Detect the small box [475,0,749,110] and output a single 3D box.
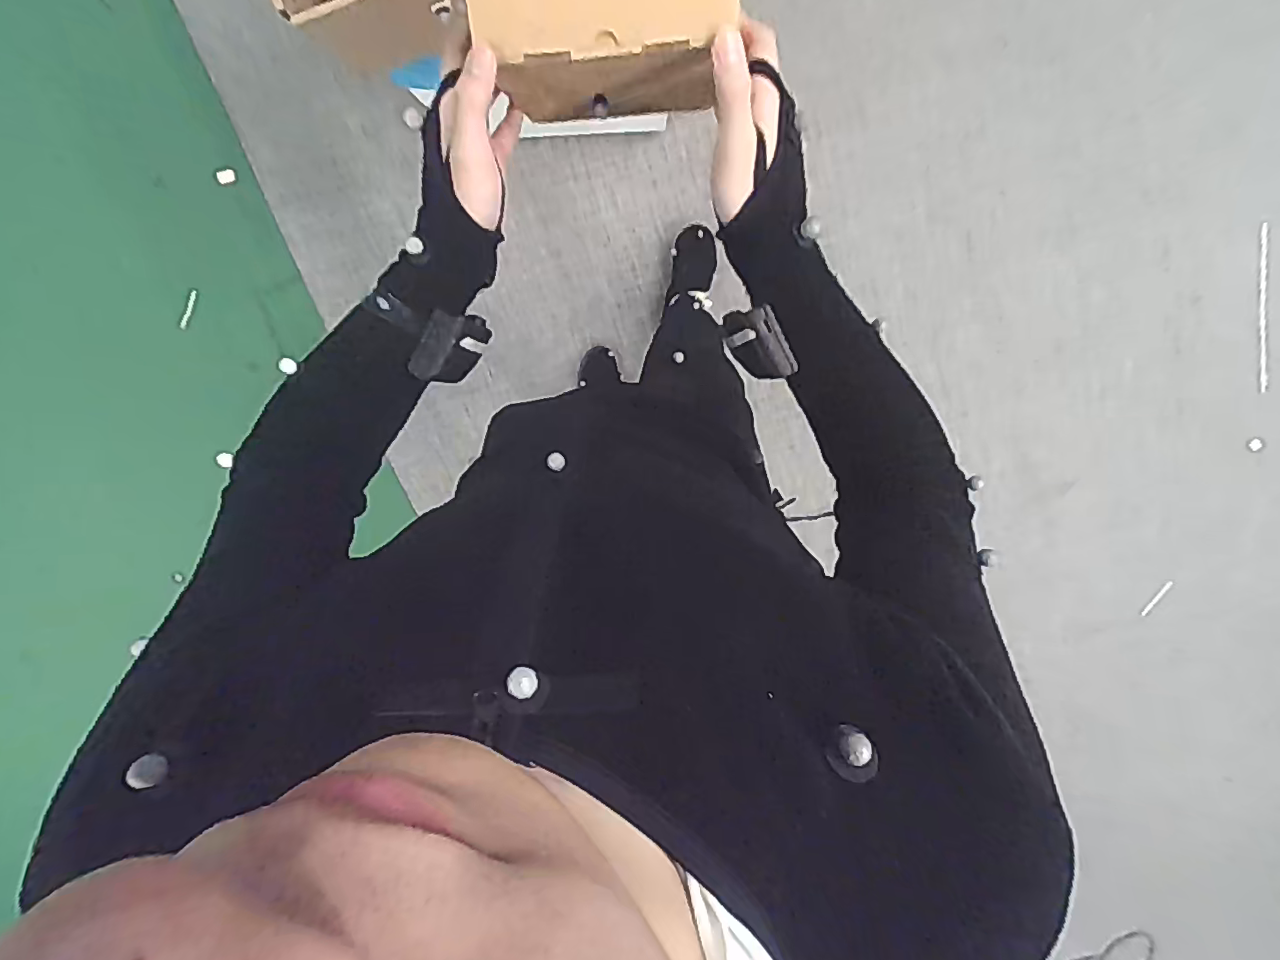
[{"bbox_3d":[-0.021,-0.378,0.367,0.168,0.176,0.179,-3,114,3],"label":"small box"}]
